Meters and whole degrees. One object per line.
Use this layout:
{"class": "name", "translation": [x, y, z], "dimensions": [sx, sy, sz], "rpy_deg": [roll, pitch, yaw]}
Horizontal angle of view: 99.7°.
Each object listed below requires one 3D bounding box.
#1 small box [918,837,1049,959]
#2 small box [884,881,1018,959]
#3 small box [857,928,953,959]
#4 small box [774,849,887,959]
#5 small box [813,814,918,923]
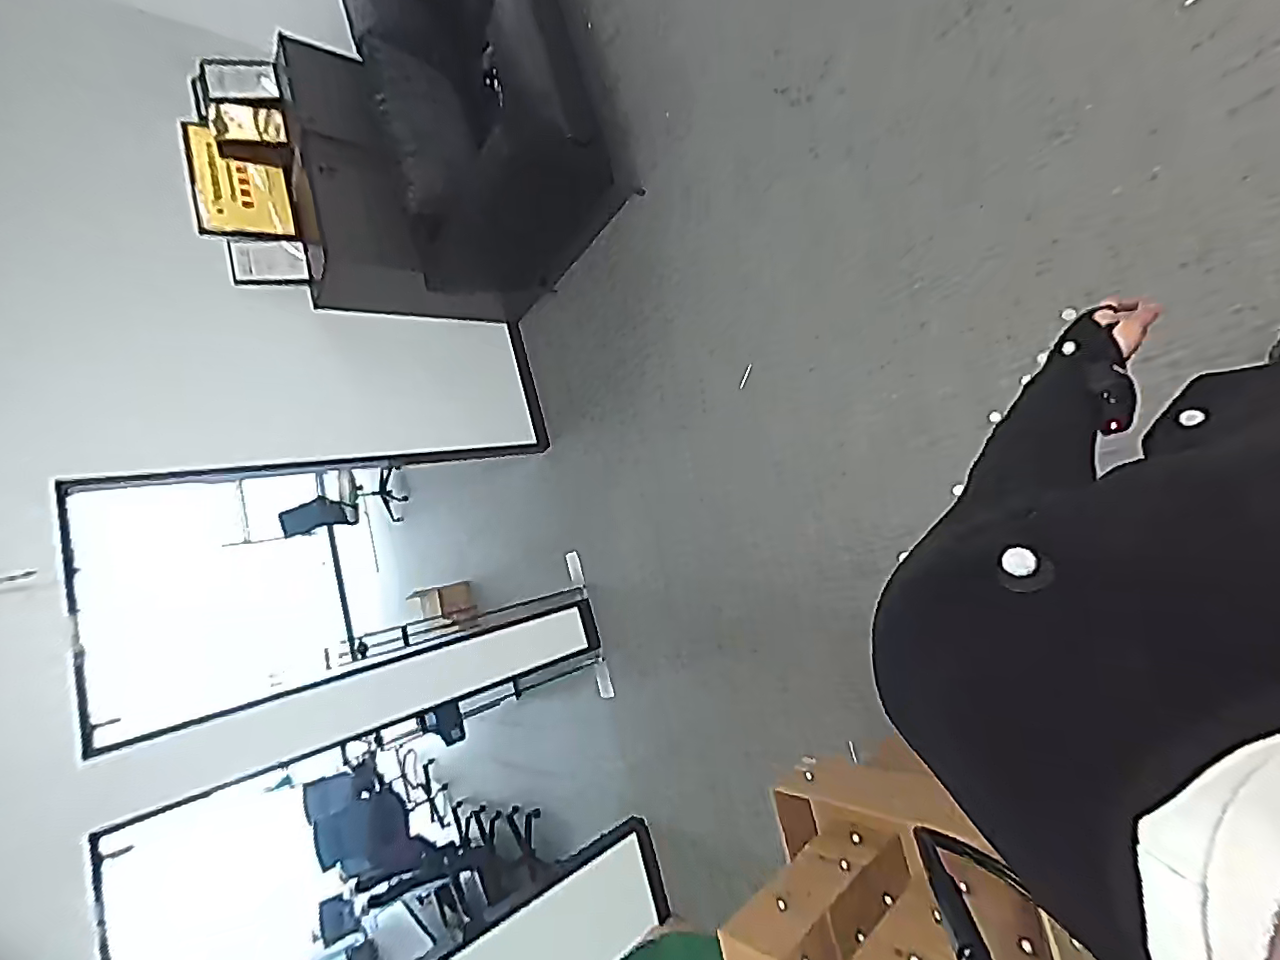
{"class": "small box", "translation": [0.723, 0.903, 1.135], "dimensions": [0.168, 0.176, 0.179], "rpy_deg": [-19, 82, 51]}
{"class": "small box", "translation": [0.599, 0.919, 1.028], "dimensions": [0.168, 0.176, 0.179], "rpy_deg": [-18, 83, 51]}
{"class": "small box", "translation": [0.473, 0.940, 0.926], "dimensions": [0.168, 0.176, 0.179], "rpy_deg": [-16, 84, 50]}
{"class": "small box", "translation": [0.441, 0.990, 1.235], "dimensions": [0.168, 0.176, 0.179], "rpy_deg": [-24, 80, 49]}
{"class": "small box", "translation": [0.563, 0.971, 1.343], "dimensions": [0.168, 0.176, 0.179], "rpy_deg": [-22, 80, 49]}
